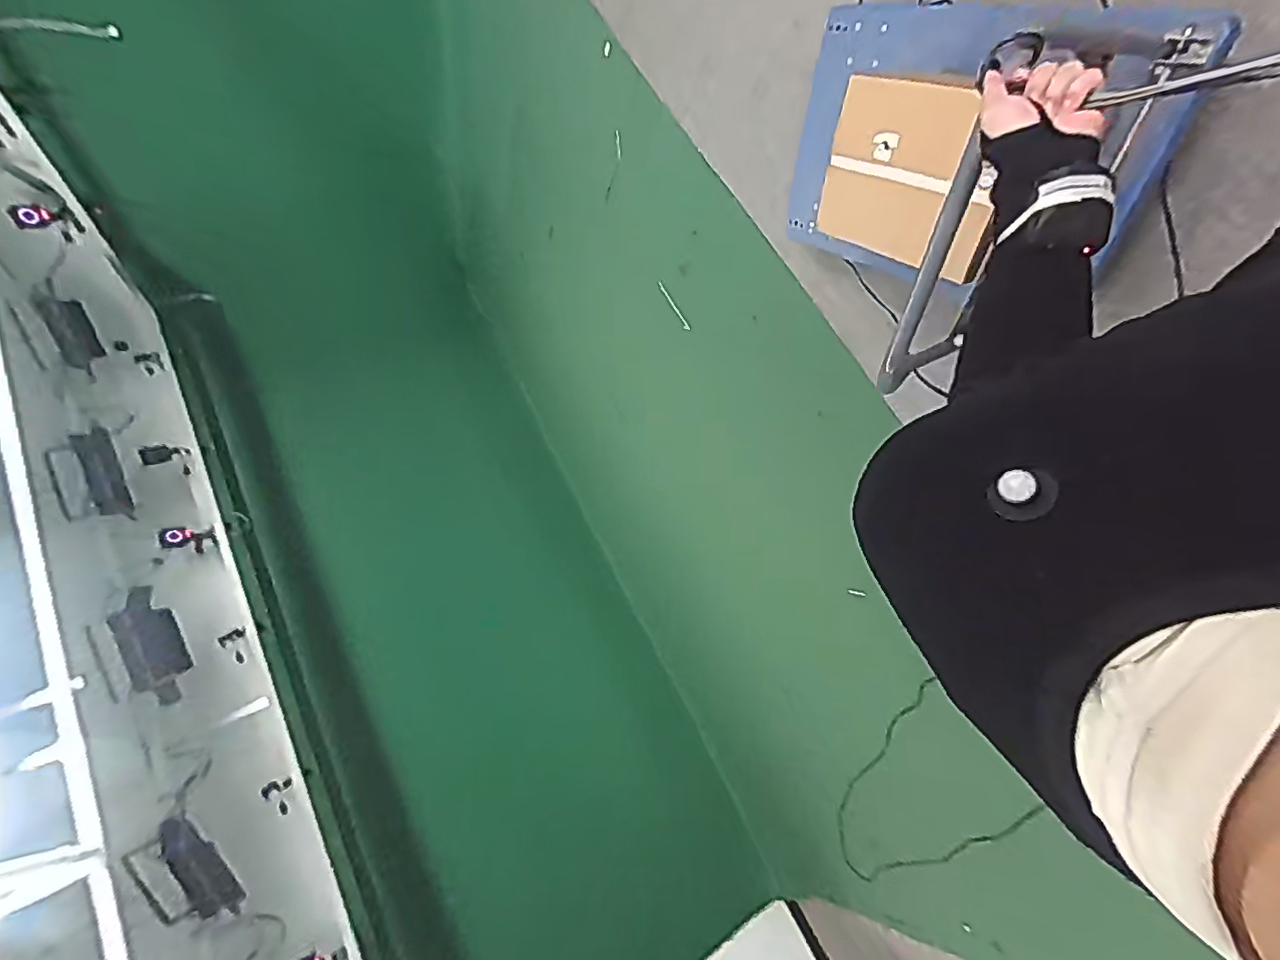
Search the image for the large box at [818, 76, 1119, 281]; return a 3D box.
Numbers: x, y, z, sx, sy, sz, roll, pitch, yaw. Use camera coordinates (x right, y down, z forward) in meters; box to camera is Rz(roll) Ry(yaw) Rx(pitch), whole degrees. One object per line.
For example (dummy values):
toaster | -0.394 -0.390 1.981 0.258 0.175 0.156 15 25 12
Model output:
large box | 0.676 -0.670 1.174 0.408 0.320 0.320 47 146 38
